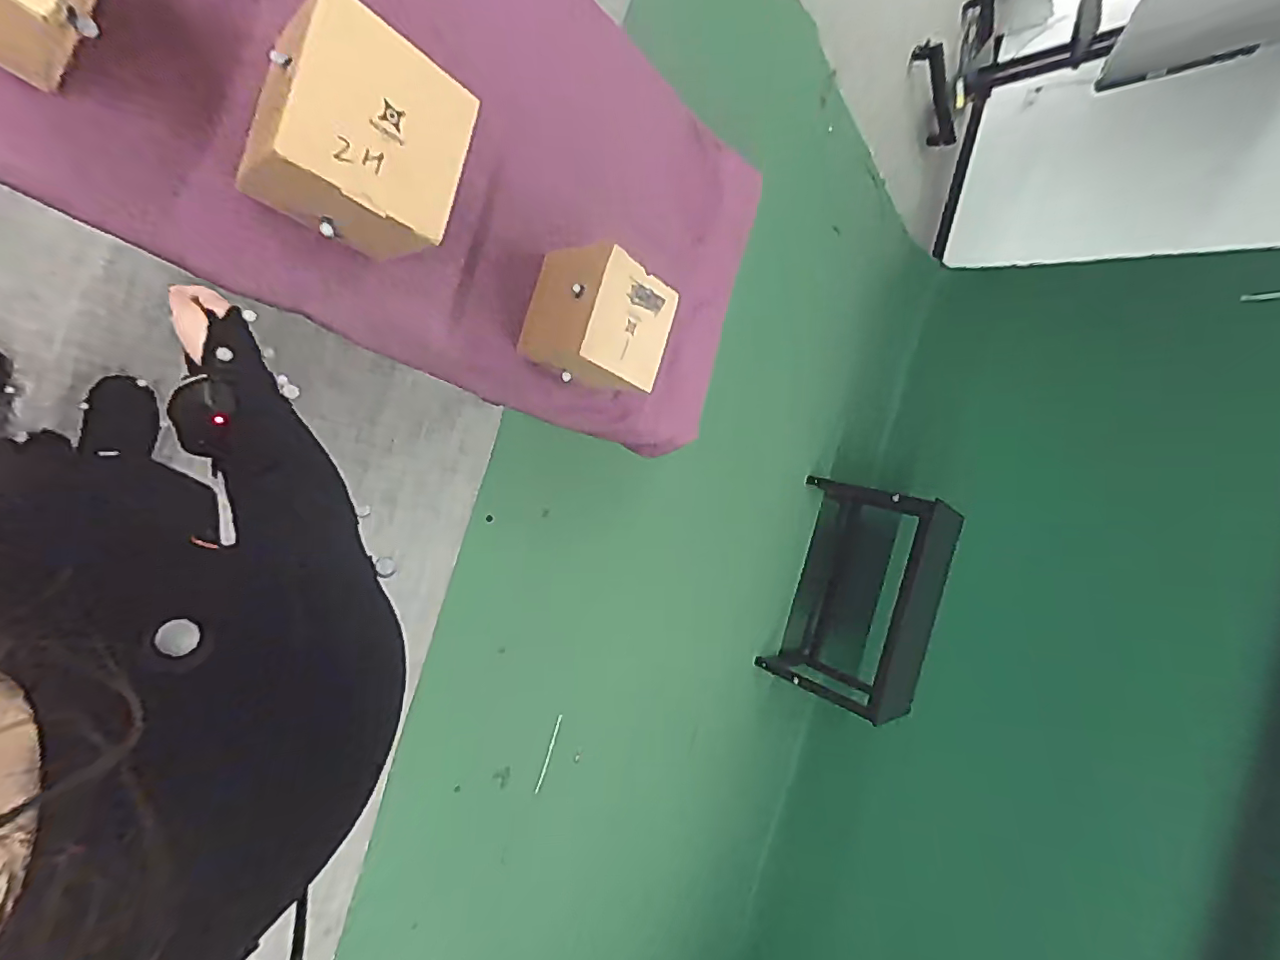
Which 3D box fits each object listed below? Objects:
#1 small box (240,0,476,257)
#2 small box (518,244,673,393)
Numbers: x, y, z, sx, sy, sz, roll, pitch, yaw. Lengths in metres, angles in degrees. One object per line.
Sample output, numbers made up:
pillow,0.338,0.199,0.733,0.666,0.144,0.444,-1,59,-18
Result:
small box,-0.316,-0.375,0.603,0.168,0.176,0.179,17,87,-47
small box,-0.077,-0.259,0.895,0.168,0.176,0.179,19,86,-47
